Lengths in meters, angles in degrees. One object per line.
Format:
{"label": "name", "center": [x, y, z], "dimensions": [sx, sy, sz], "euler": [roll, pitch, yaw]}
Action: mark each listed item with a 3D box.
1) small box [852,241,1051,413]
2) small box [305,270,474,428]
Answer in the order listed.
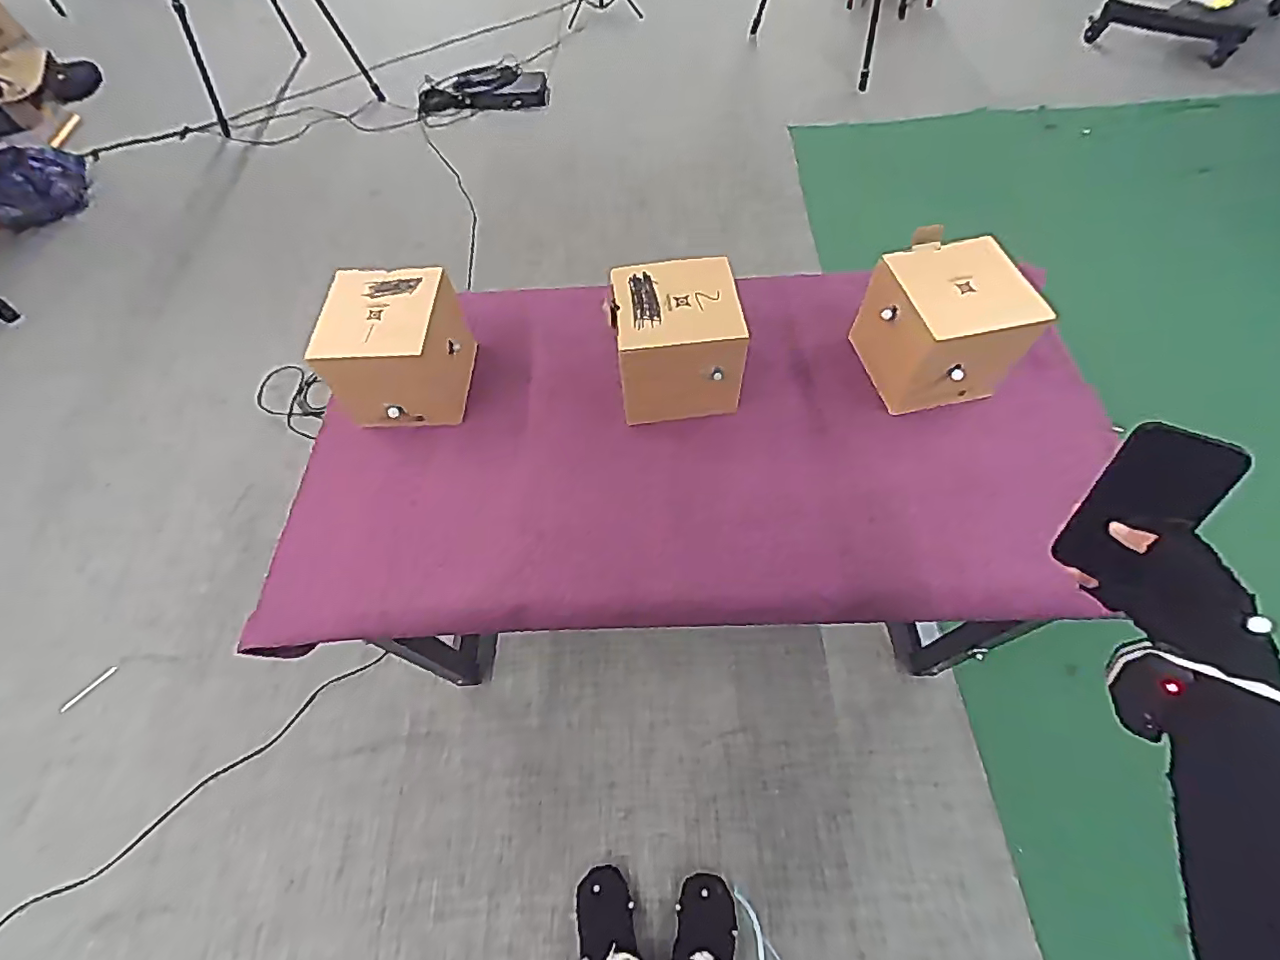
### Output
{"label": "small box", "center": [0.444, -0.217, 0.806], "dimensions": [0.168, 0.176, 0.179], "euler": [-11, 59, -3]}
{"label": "small box", "center": [-0.369, -0.199, 0.839], "dimensions": [0.168, 0.176, 0.179], "euler": [-1, 62, 3]}
